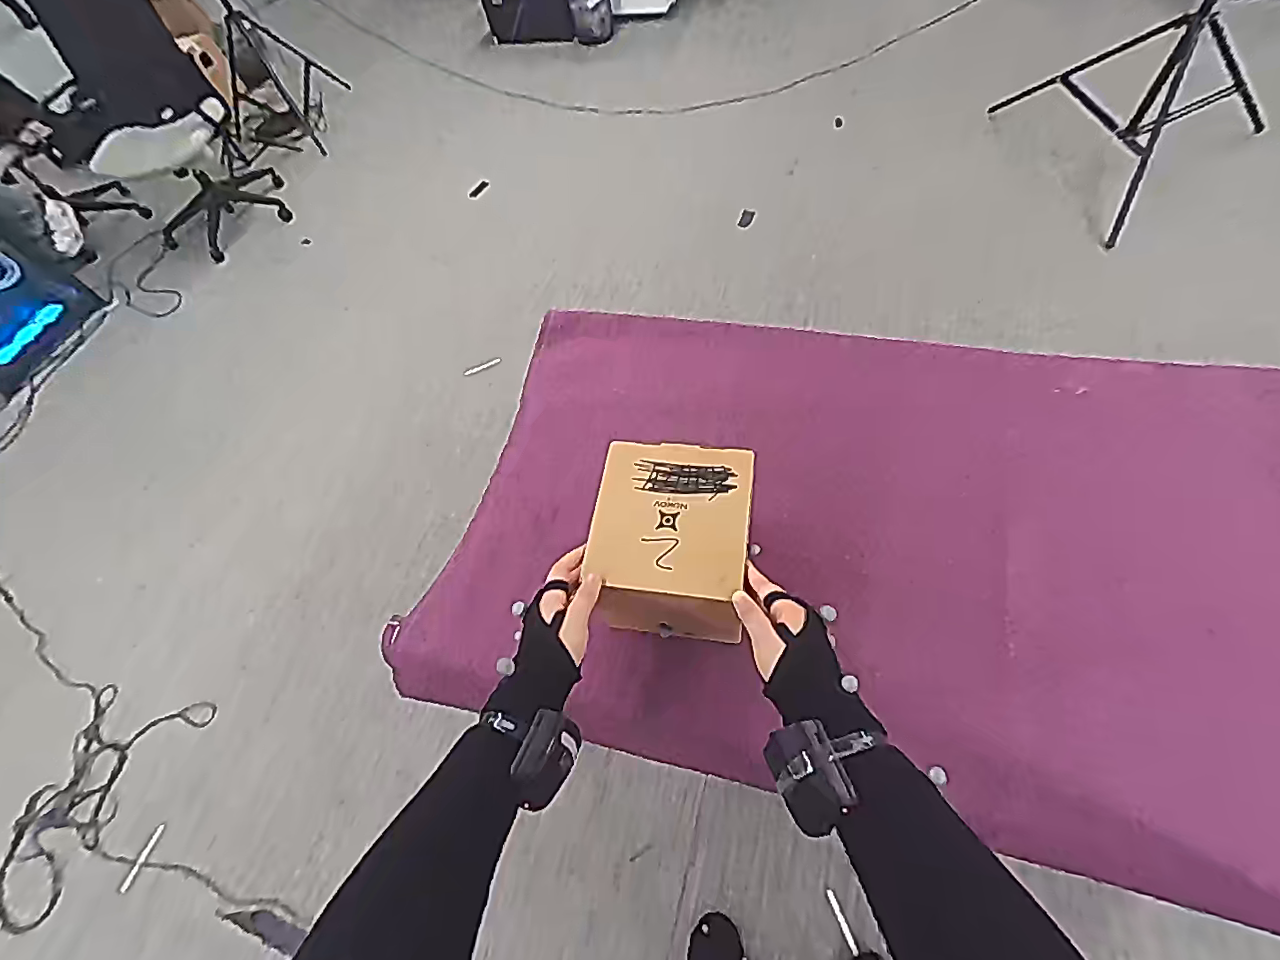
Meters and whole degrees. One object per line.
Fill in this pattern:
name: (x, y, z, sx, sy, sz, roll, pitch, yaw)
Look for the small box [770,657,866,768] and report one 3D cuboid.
small box: (0.384, 0.514, 1.186, 0.168, 0.176, 0.179, 12, 62, 15)
